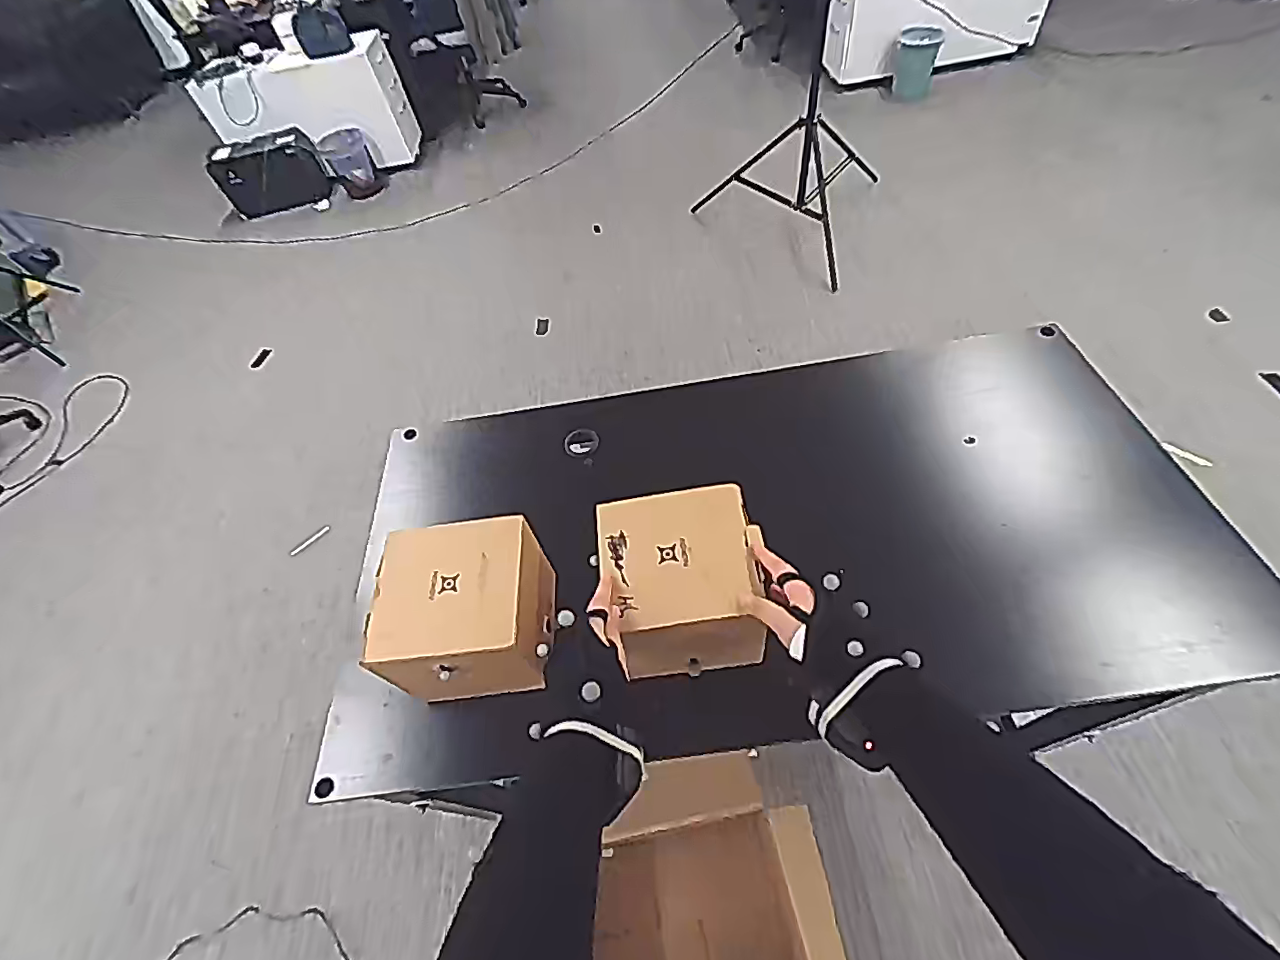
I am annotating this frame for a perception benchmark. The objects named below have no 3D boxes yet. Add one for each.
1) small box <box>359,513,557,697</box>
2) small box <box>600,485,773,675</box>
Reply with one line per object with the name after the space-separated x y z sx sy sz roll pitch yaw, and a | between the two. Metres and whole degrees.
-0.211 0.163 0.679 0.179 0.176 0.168 -8 55 2 | small box
0.052 0.128 0.664 0.179 0.176 0.168 -8 54 2 | small box
